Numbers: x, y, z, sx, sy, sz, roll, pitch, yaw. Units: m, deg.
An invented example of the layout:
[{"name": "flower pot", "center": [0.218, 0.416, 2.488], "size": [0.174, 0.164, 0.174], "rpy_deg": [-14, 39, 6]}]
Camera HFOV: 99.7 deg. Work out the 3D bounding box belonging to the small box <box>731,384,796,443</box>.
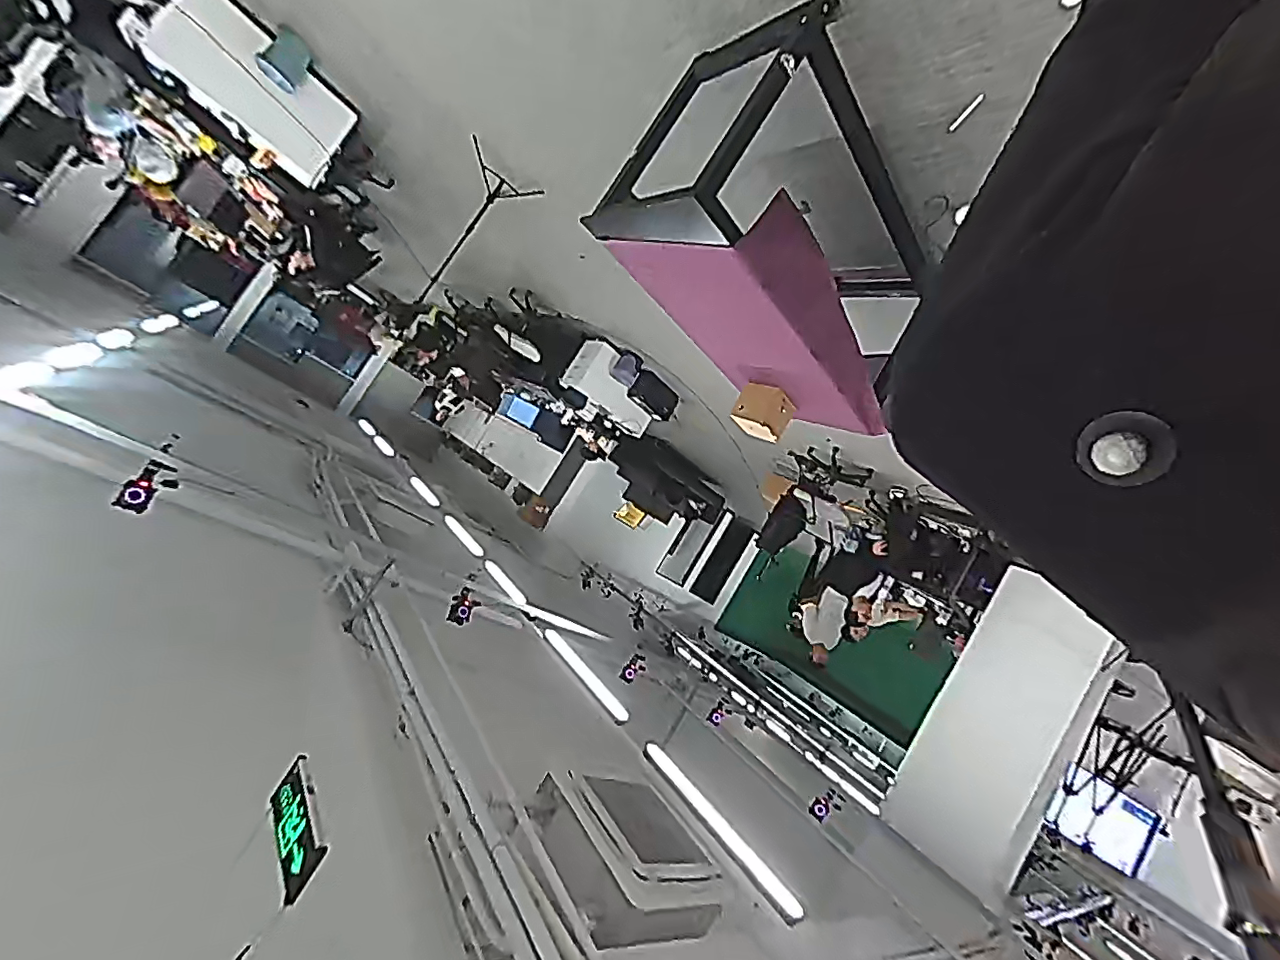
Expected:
[{"name": "small box", "center": [0.523, -0.285, 2.277], "size": [0.168, 0.176, 0.179], "rpy_deg": [36, 173, -40]}]
